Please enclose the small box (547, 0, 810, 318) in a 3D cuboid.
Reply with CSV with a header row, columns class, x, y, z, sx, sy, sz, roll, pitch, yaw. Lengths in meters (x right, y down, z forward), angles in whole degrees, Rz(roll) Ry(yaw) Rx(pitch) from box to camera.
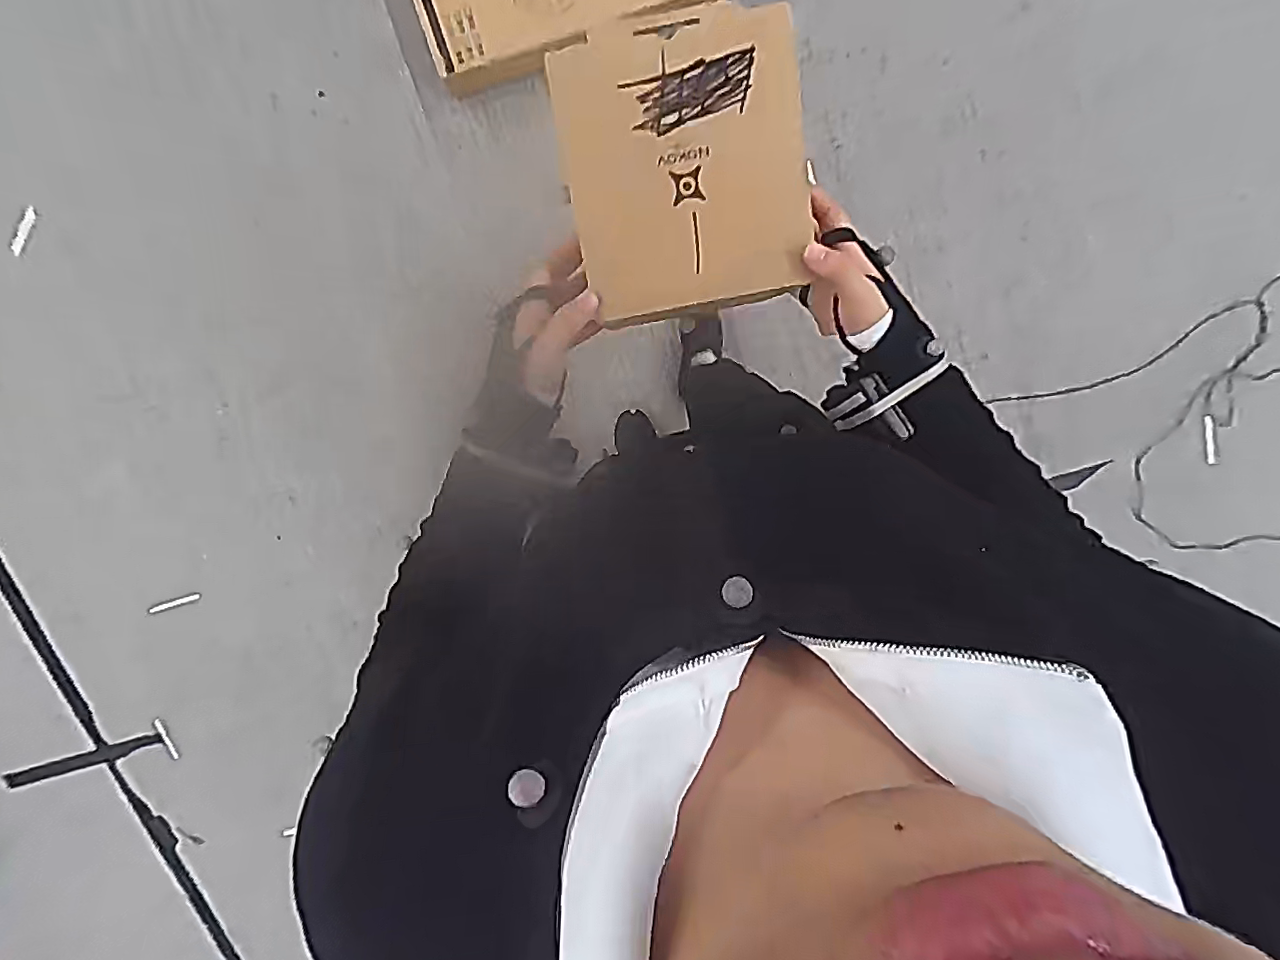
class,x,y,z,sx,sy,sz,roll,pitch,yaw
small box,0.030,-0.242,0.453,0.168,0.176,0.179,-10,104,3
